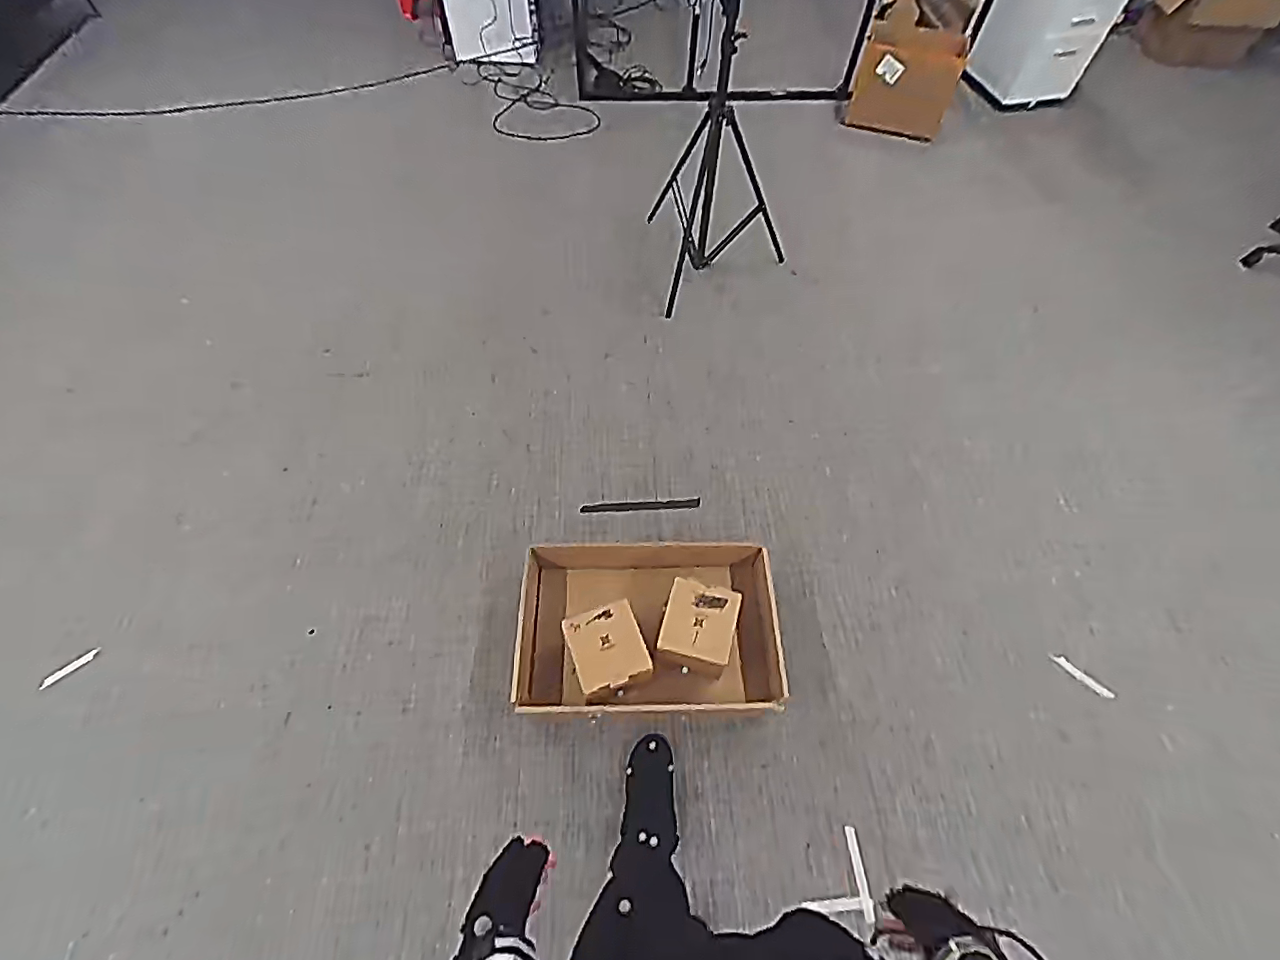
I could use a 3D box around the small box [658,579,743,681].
[{"bbox_3d":[0.141,0.369,1.317,0.168,0.176,0.179,14,61,9],"label":"small box"}]
